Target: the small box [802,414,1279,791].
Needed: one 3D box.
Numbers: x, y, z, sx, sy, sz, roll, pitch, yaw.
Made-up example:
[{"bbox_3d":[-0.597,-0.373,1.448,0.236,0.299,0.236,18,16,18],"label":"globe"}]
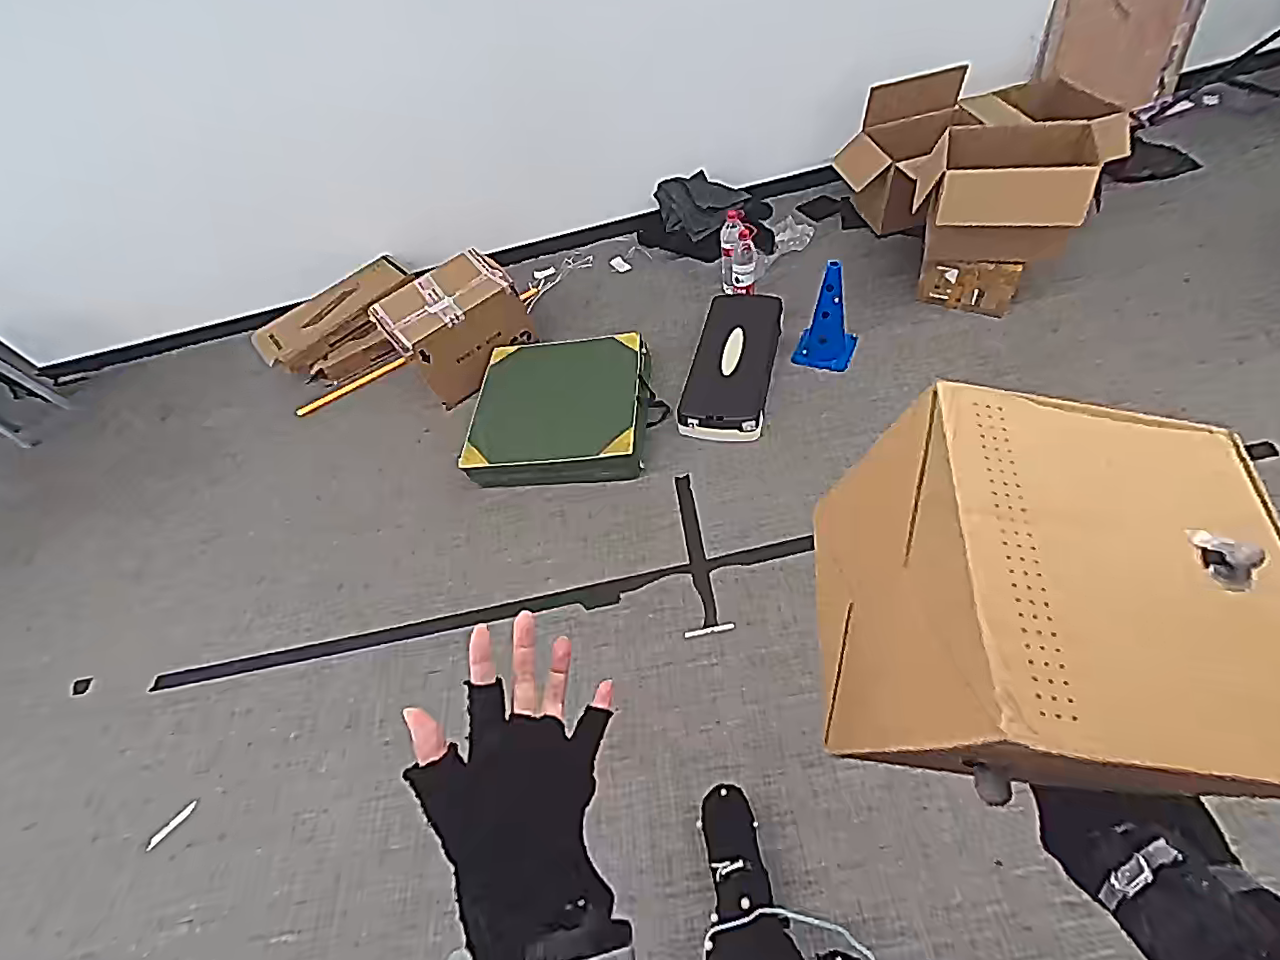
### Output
[{"bbox_3d":[0.206,0.079,0.326,0.176,0.168,0.179,8,61,-1],"label":"small box"}]
